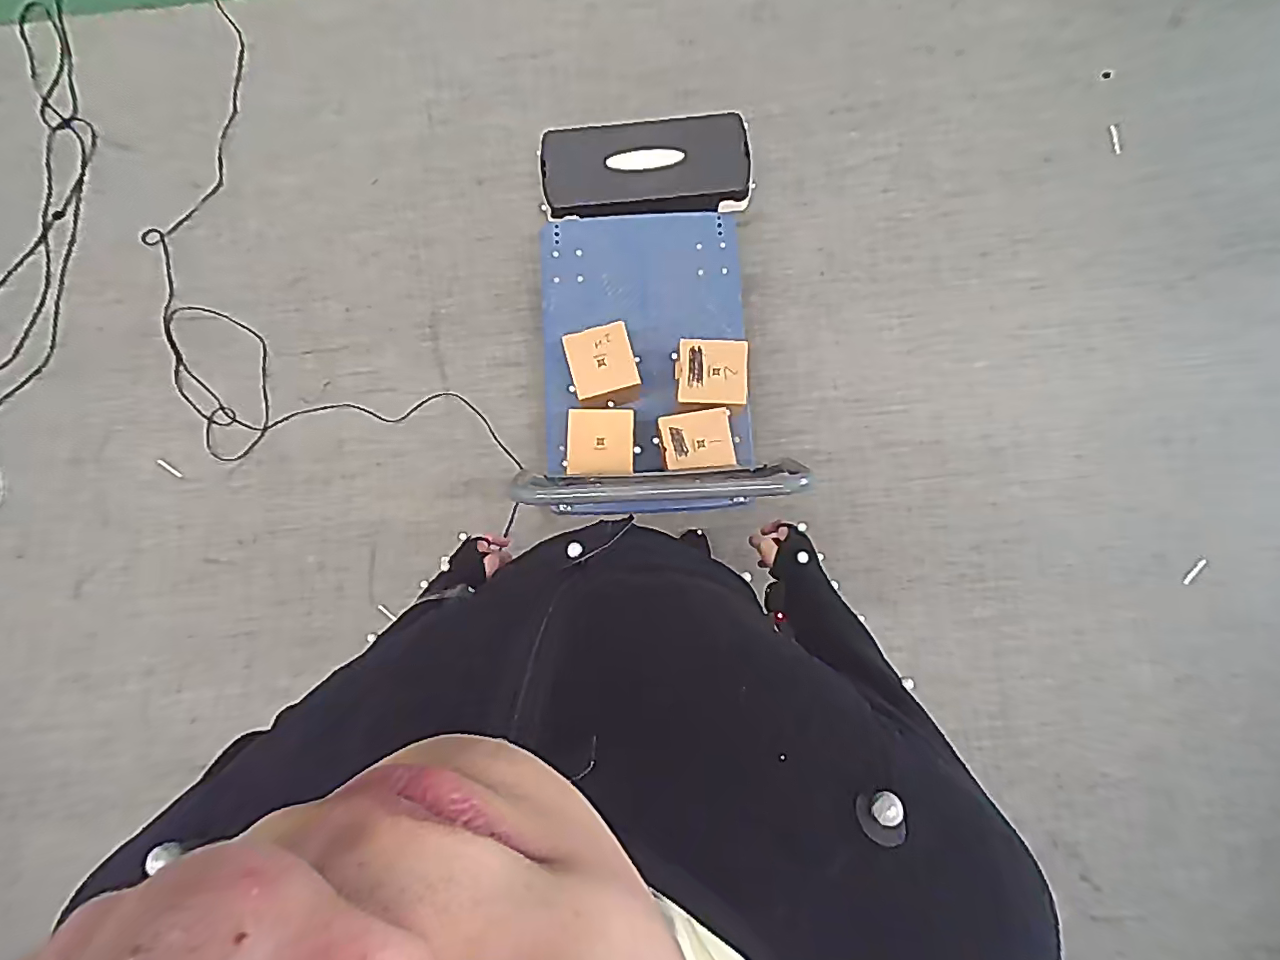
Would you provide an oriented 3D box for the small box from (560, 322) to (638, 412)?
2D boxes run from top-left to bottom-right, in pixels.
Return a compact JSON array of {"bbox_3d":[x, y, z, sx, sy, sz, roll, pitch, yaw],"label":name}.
[{"bbox_3d":[-0.104,-0.291,1.445,0.168,0.176,0.179,-15,84,-2],"label":"small box"}]
